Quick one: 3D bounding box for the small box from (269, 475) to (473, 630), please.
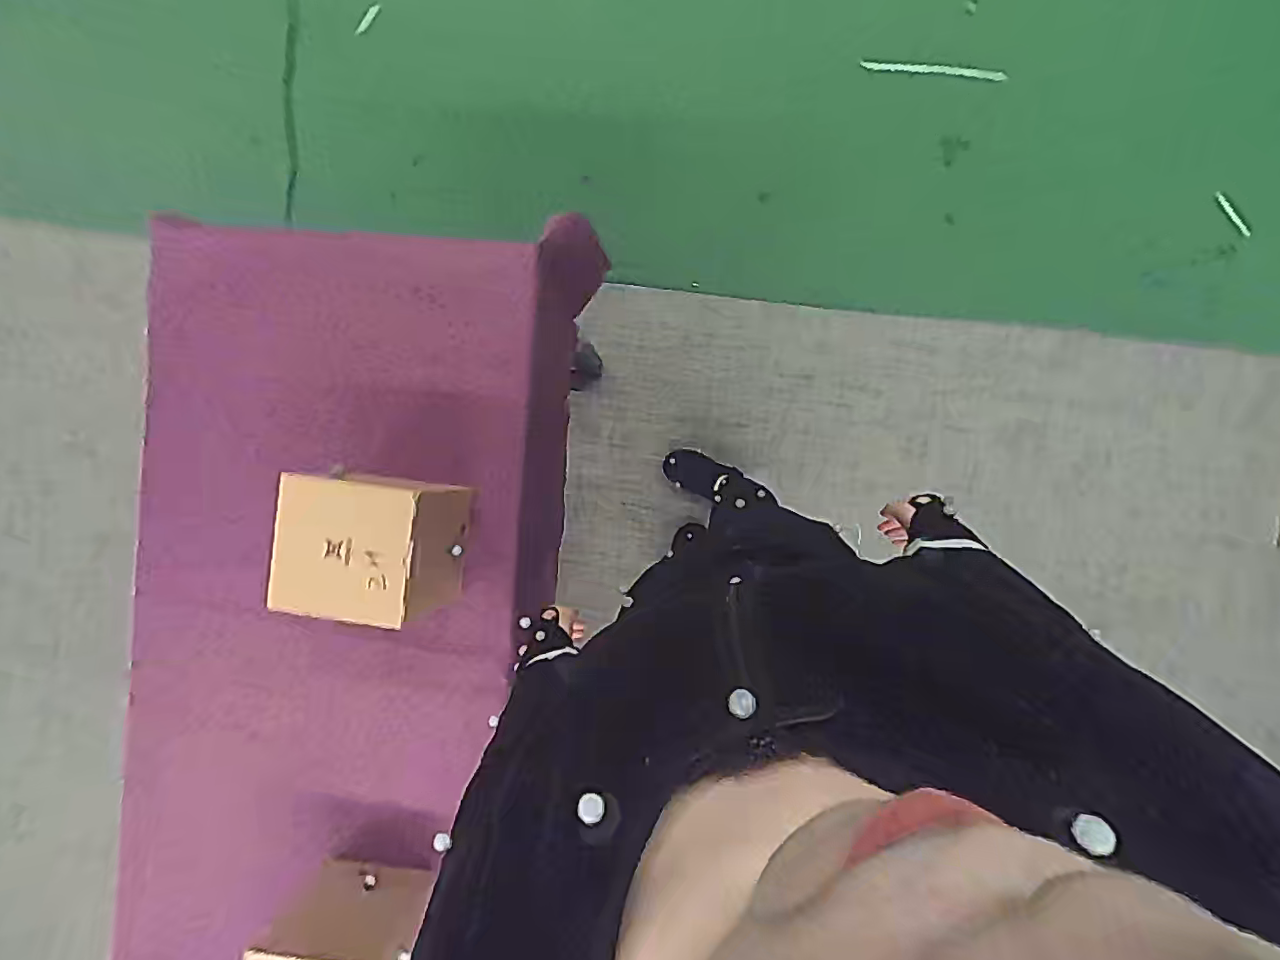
[{"bbox_3d":[-0.347,0.086,0.725,0.179,0.176,0.168,7,92,4],"label":"small box"}]
